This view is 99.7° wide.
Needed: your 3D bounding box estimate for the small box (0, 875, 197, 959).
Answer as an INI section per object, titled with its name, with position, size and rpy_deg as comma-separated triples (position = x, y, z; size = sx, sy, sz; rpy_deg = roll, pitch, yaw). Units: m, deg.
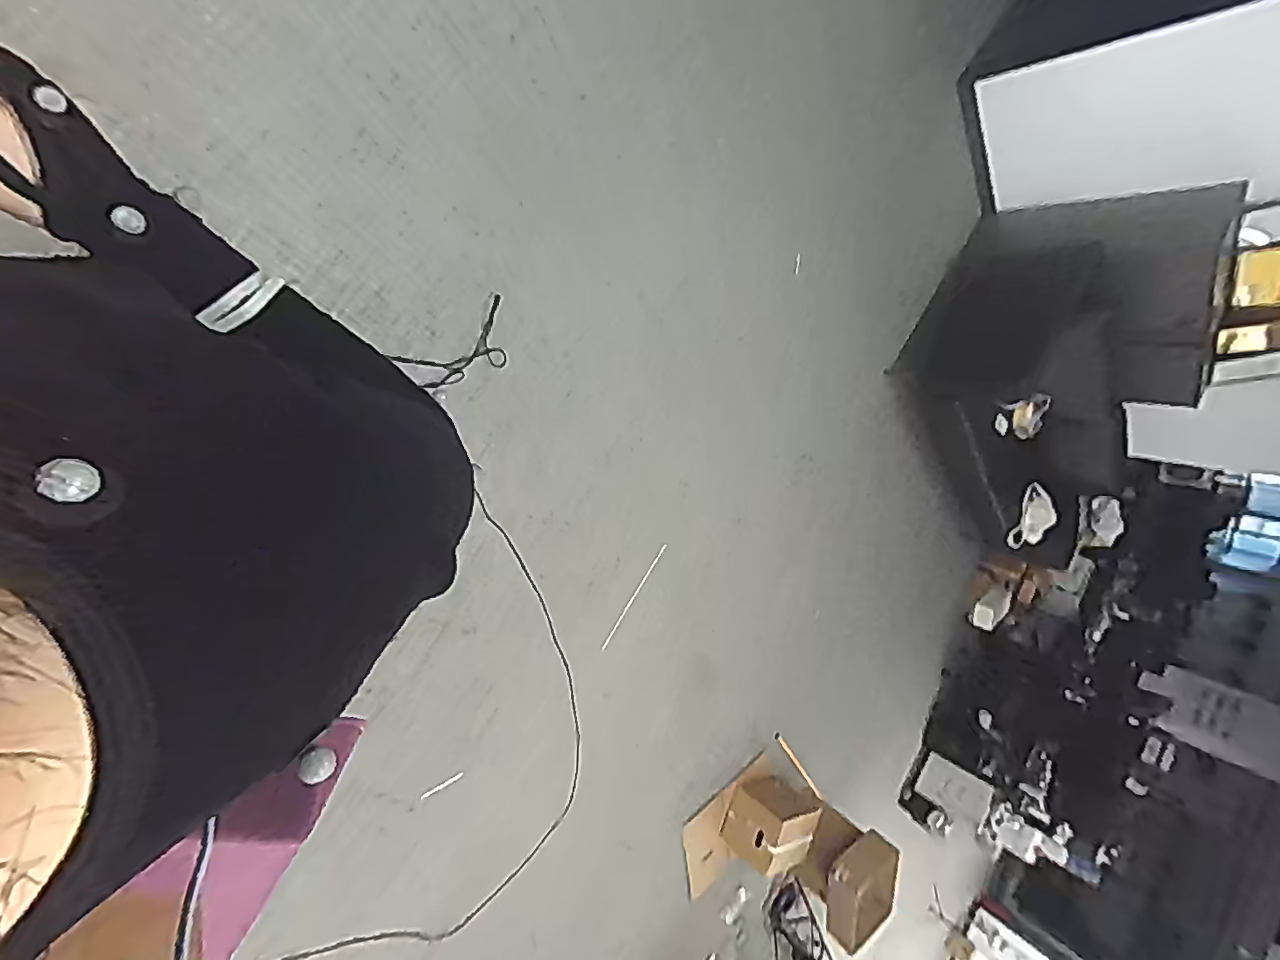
[small box]
position = -0.638, 0.585, 0.604
size = 0.168, 0.176, 0.179
rpy_deg = -54, 130, -13
